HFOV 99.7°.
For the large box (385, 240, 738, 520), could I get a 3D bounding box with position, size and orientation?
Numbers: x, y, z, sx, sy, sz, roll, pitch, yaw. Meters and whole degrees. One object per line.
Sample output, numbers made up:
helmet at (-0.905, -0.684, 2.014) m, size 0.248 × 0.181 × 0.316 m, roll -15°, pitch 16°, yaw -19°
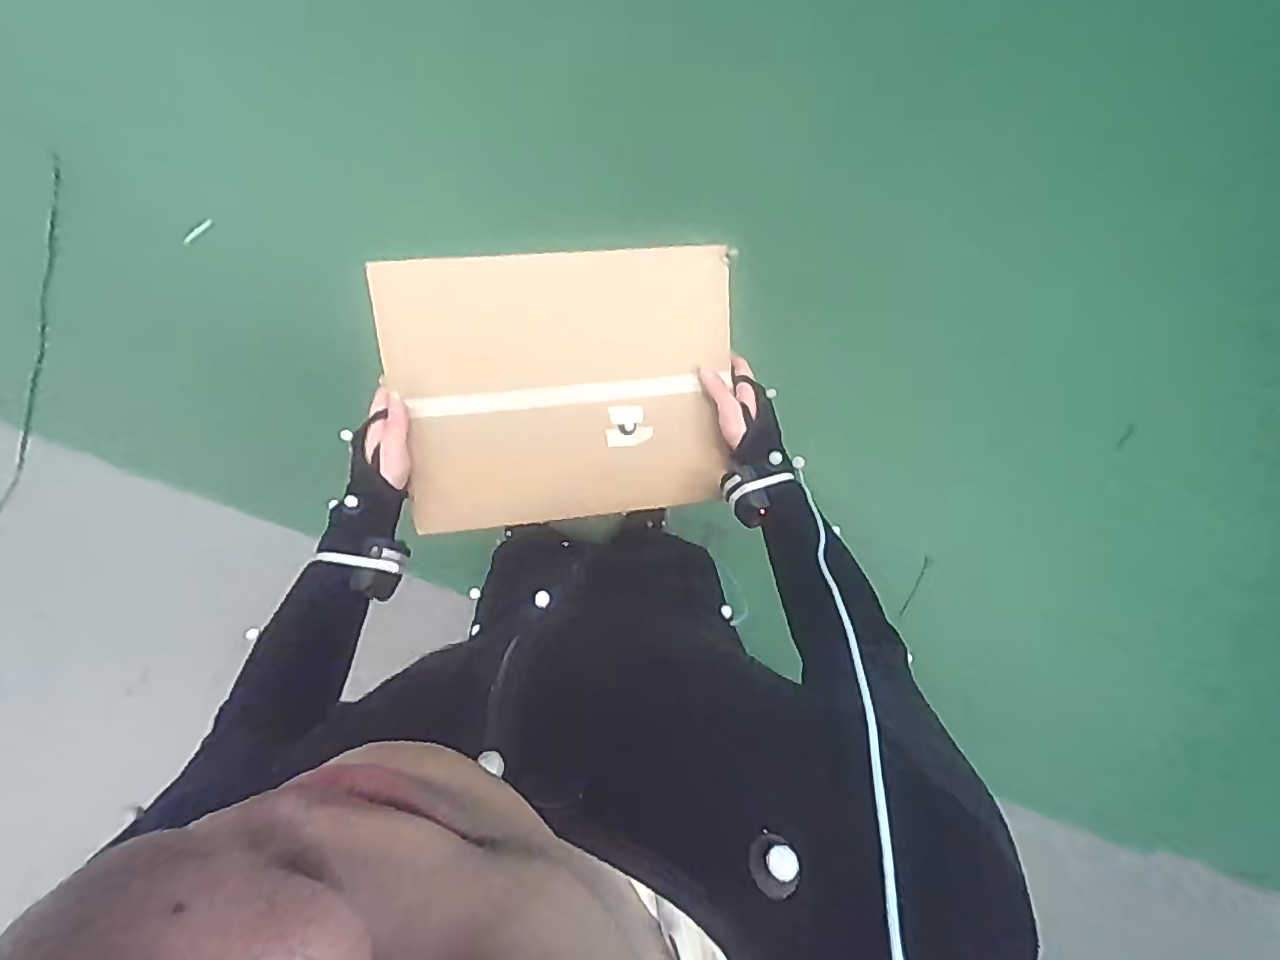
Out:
large box at (-0.101, -0.151, 0.794) m, size 0.408 × 0.320 × 0.320 m, roll -5°, pitch 105°, yaw -9°
